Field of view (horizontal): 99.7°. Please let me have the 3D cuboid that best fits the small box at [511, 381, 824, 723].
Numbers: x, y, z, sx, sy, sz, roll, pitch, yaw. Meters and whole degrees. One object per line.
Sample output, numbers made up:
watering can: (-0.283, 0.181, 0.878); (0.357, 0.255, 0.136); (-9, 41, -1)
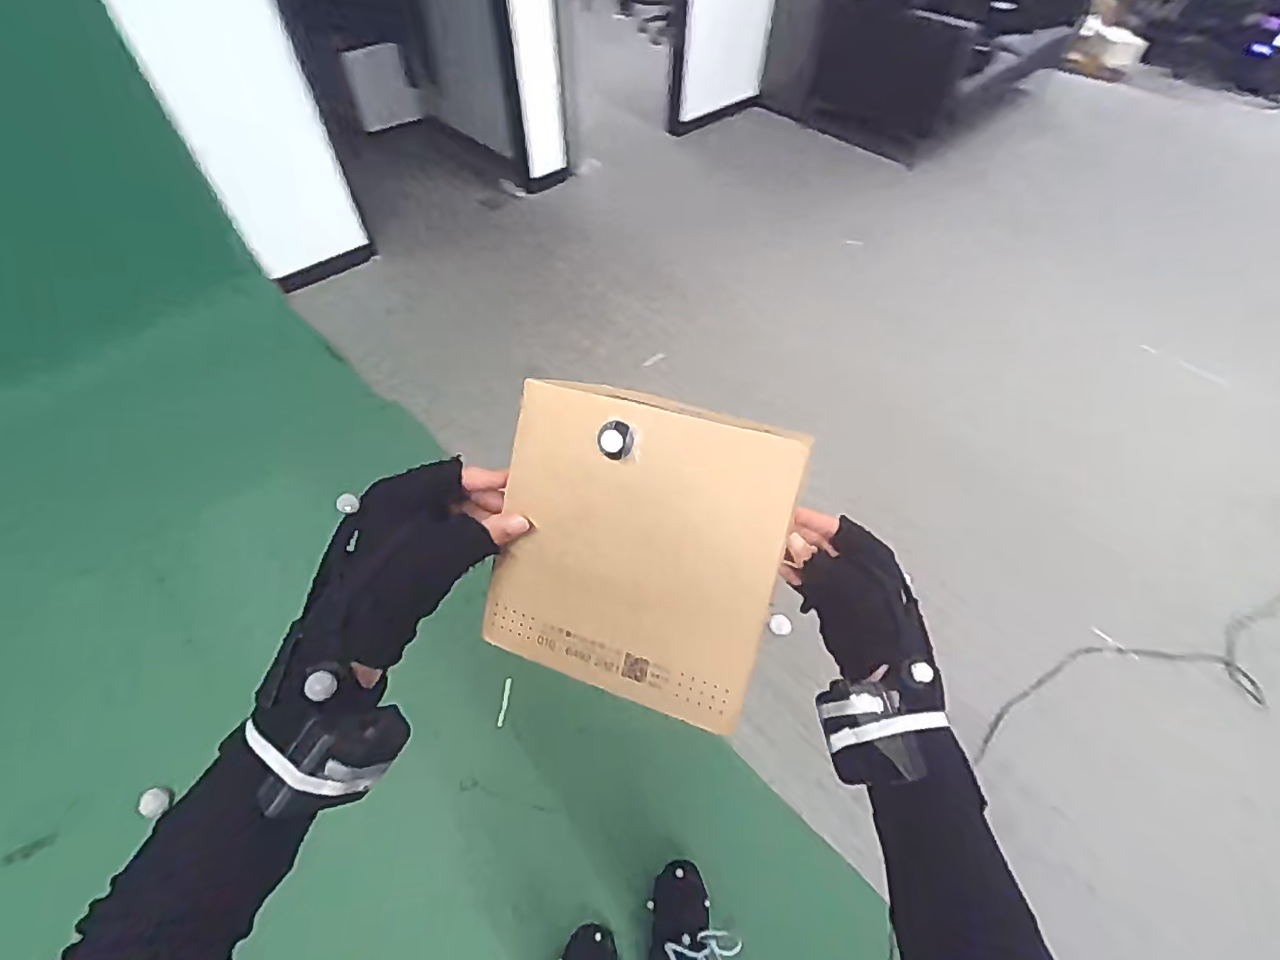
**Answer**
small box: (0.027, 0.036, 0.392); (0.168, 0.176, 0.179); (16, 10, 18)
